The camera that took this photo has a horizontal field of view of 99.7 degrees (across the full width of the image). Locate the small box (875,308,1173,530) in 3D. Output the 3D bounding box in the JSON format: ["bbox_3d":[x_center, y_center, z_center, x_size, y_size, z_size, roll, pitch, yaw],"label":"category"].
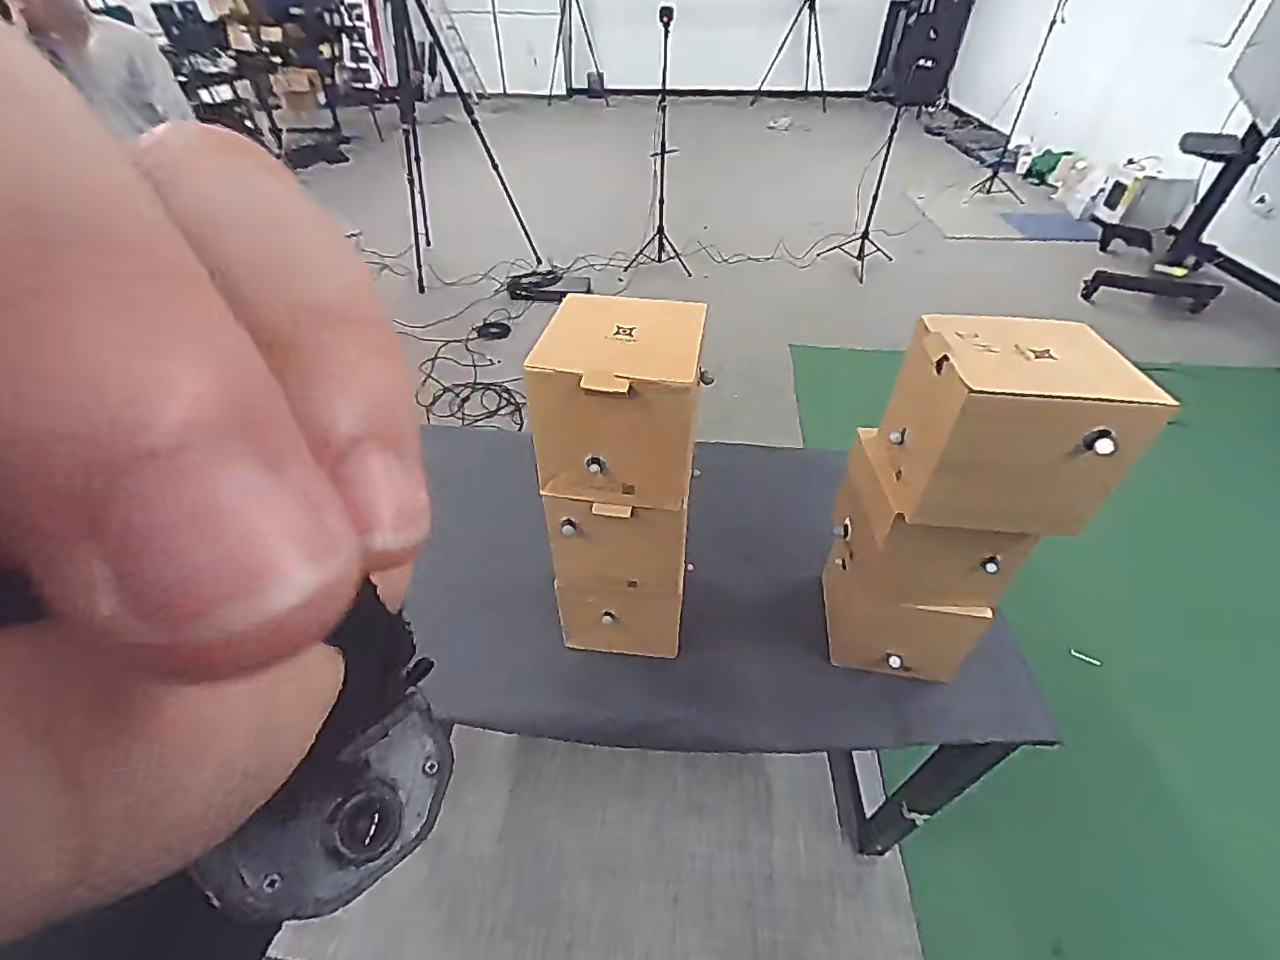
[{"bbox_3d":[0.375,-0.064,0.574,0.179,0.176,0.168,4,40,5],"label":"small box"}]

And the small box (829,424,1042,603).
[{"bbox_3d":[0.364,0.044,0.700,0.179,0.176,0.168,0,40,3],"label":"small box"}]

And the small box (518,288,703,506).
[{"bbox_3d":[-0.025,-0.096,0.612,0.168,0.176,0.179,7,43,6],"label":"small box"}]

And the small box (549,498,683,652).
[{"bbox_3d":[-0.027,0.147,0.832,0.179,0.176,0.168,4,43,5],"label":"small box"}]

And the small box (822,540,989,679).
[{"bbox_3d":[0.376,0.166,0.807,0.168,0.176,0.179,6,43,8],"label":"small box"}]
